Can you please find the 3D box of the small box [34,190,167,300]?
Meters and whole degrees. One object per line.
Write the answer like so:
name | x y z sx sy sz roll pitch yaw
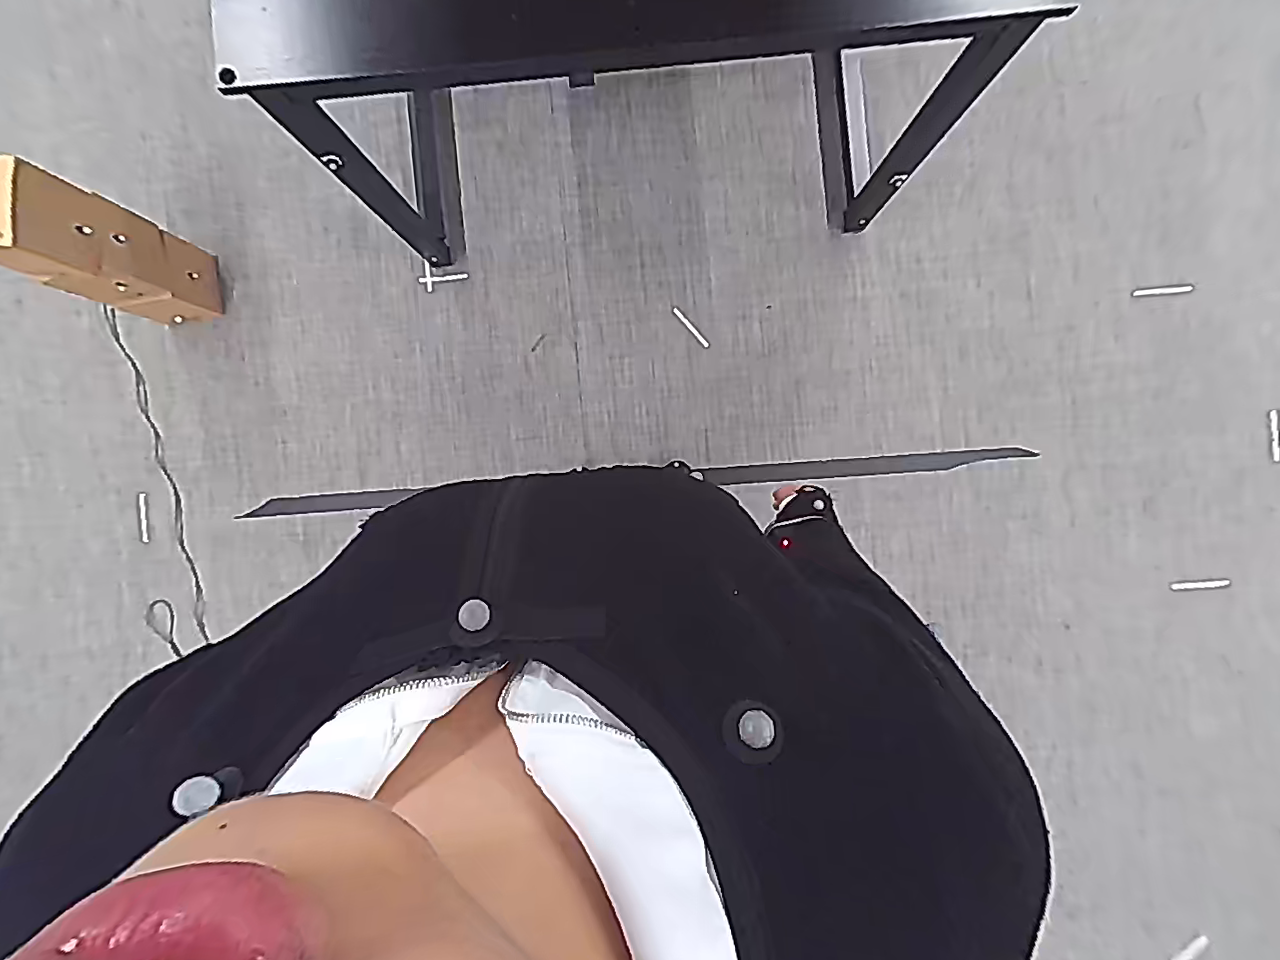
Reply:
small box | -1.263 -0.537 1.265 0.168 0.176 0.179 -11 89 0

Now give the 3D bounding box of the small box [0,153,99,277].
small box | -1.263 -0.535 1.100 0.168 0.176 0.179 3 90 1

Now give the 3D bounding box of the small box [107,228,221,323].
small box | -1.258 -0.533 1.427 0.168 0.176 0.179 -8 92 1
